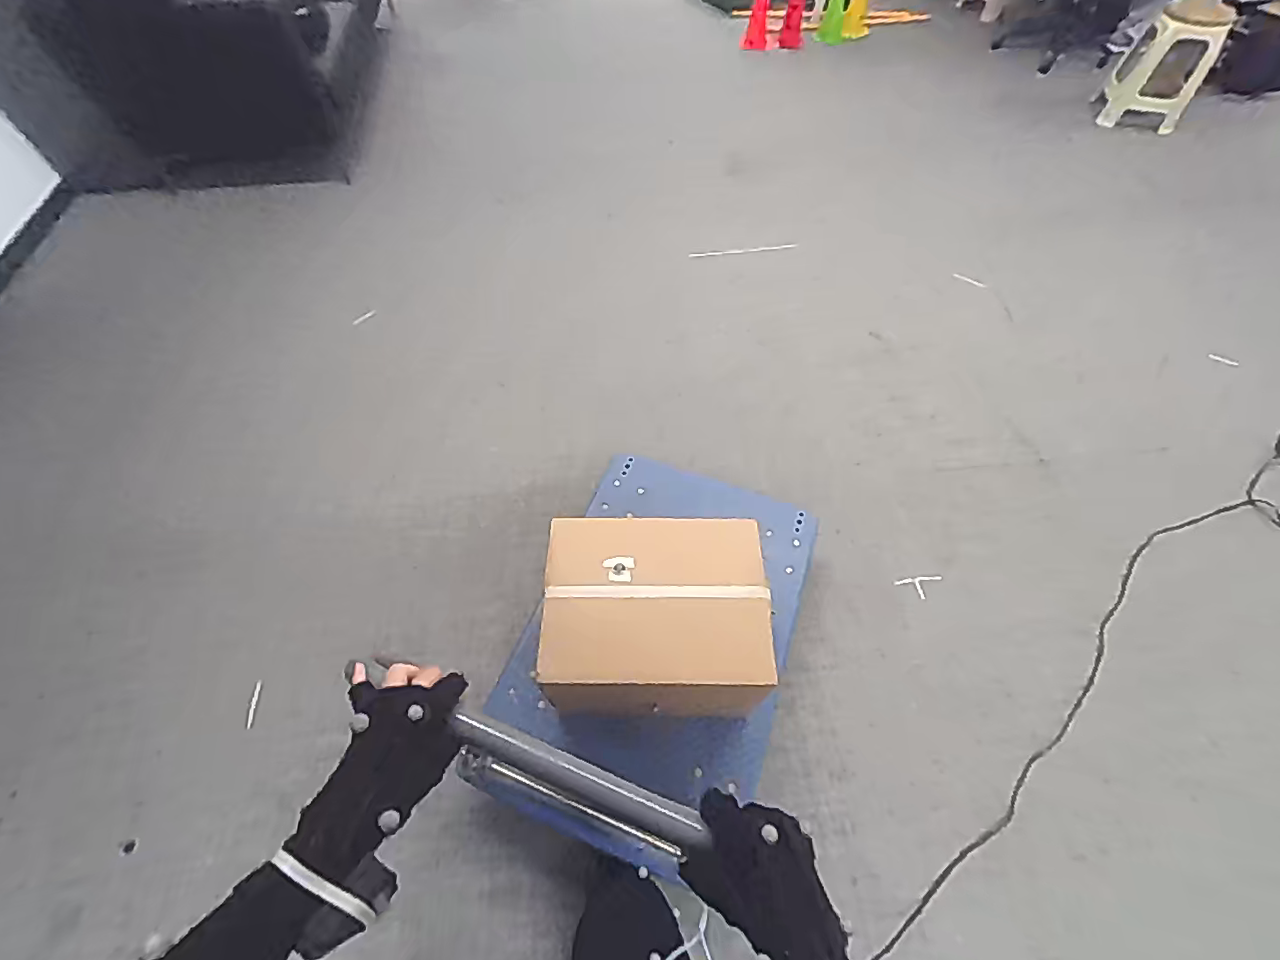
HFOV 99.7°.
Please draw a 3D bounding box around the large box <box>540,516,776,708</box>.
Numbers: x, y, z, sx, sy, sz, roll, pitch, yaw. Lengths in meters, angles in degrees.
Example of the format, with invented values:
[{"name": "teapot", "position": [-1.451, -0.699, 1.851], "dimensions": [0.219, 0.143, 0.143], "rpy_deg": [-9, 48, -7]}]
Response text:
[{"name": "large box", "position": [0.034, 0.281, 1.106], "dimensions": [0.408, 0.320, 0.320], "rpy_deg": [0, 57, 1]}]
